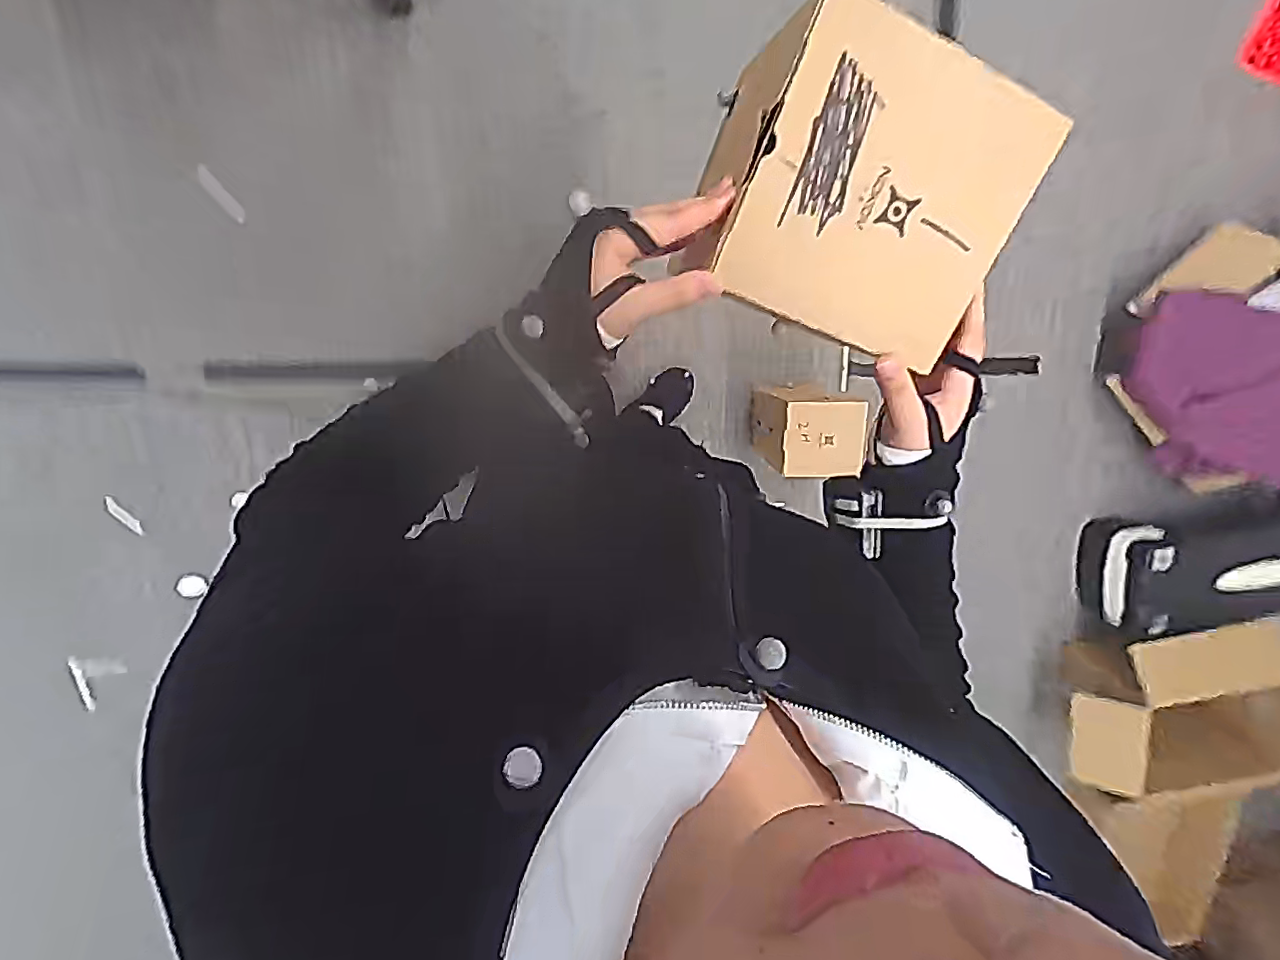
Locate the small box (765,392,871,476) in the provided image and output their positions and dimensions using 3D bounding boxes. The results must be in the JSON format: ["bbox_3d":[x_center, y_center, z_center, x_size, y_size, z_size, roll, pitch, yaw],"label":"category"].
[{"bbox_3d":[0.397,-0.110,1.234,0.179,0.176,0.168,0,105,-1],"label":"small box"}]

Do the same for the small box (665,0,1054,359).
[{"bbox_3d":[0.131,-0.207,0.402,0.179,0.176,0.168,16,110,-14],"label":"small box"}]

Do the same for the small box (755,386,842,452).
[{"bbox_3d":[0.400,-0.152,1.395,0.179,0.176,0.168,-1,106,-1],"label":"small box"}]
